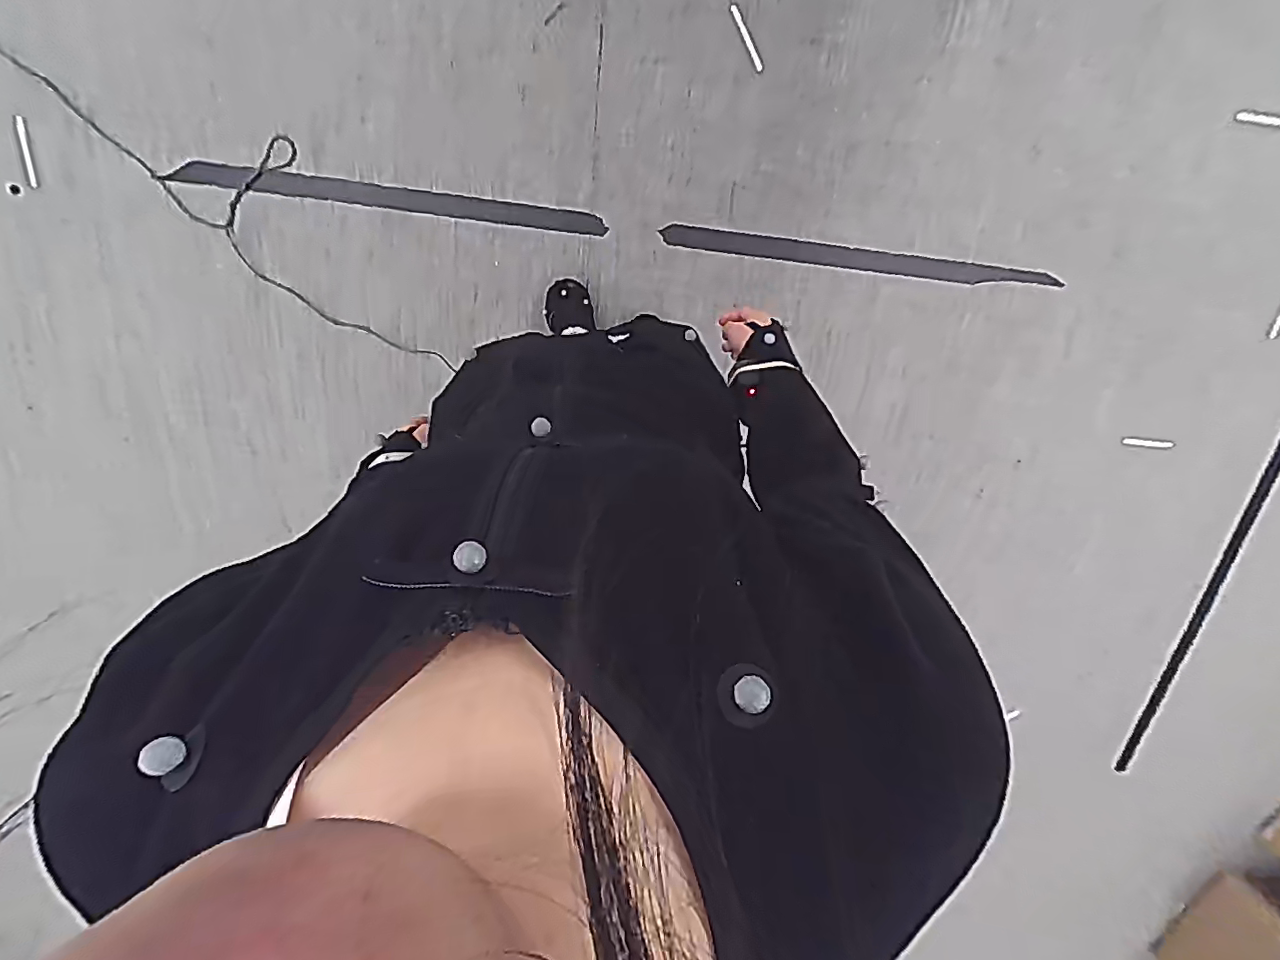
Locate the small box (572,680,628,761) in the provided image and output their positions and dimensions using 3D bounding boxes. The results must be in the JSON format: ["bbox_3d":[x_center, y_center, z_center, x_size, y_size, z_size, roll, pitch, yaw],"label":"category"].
[{"bbox_3d":[-0.126,0.750,1.700,0.168,0.176,0.179,1,109,-3],"label":"small box"}]
